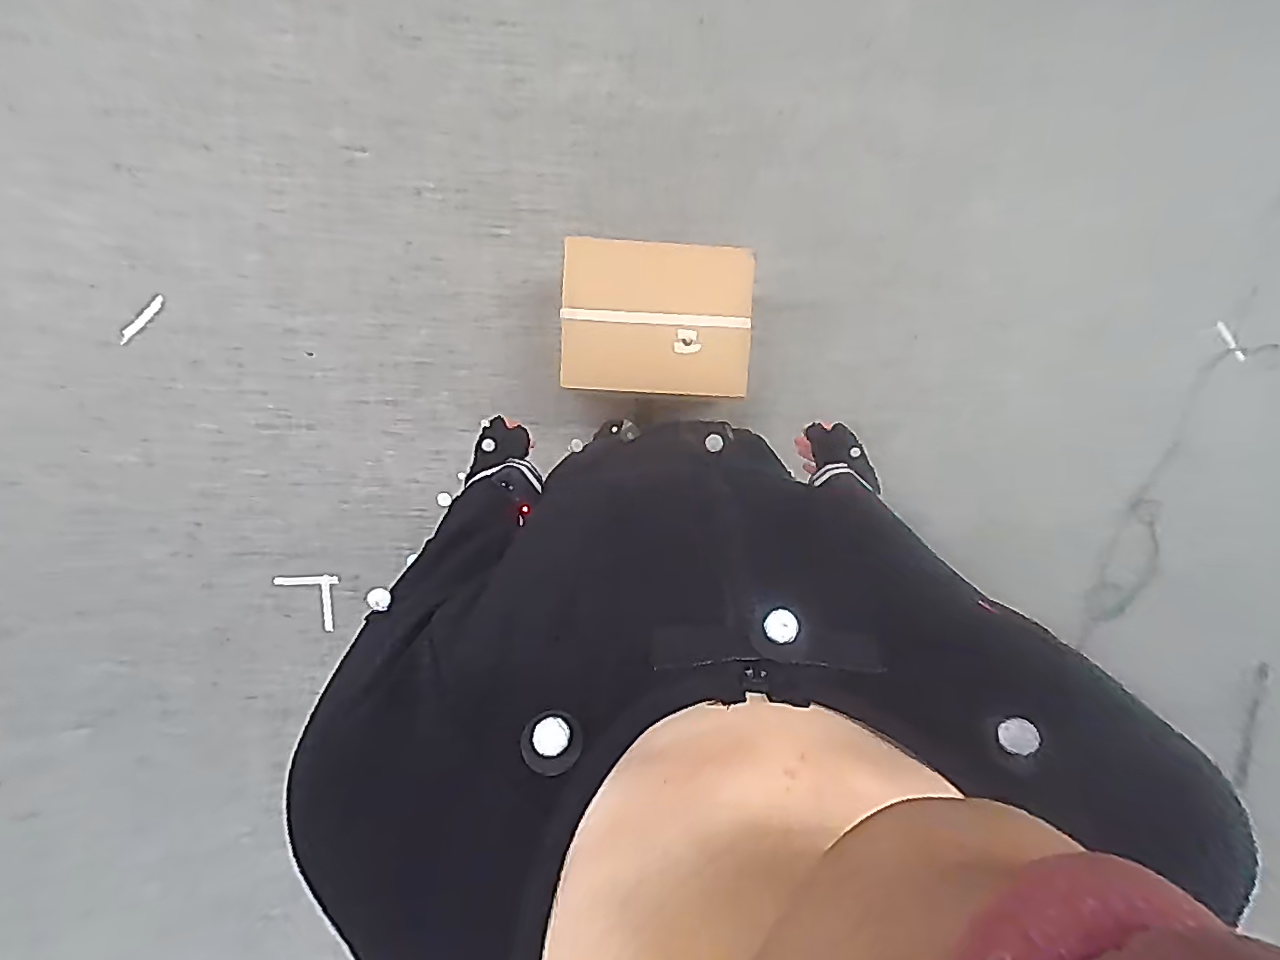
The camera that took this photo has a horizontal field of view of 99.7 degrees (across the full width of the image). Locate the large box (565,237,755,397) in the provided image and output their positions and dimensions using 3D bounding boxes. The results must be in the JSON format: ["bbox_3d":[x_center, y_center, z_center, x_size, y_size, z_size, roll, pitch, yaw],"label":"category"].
[{"bbox_3d":[0.032,-0.363,1.294,0.408,0.320,0.320,2,97,-3],"label":"large box"}]
